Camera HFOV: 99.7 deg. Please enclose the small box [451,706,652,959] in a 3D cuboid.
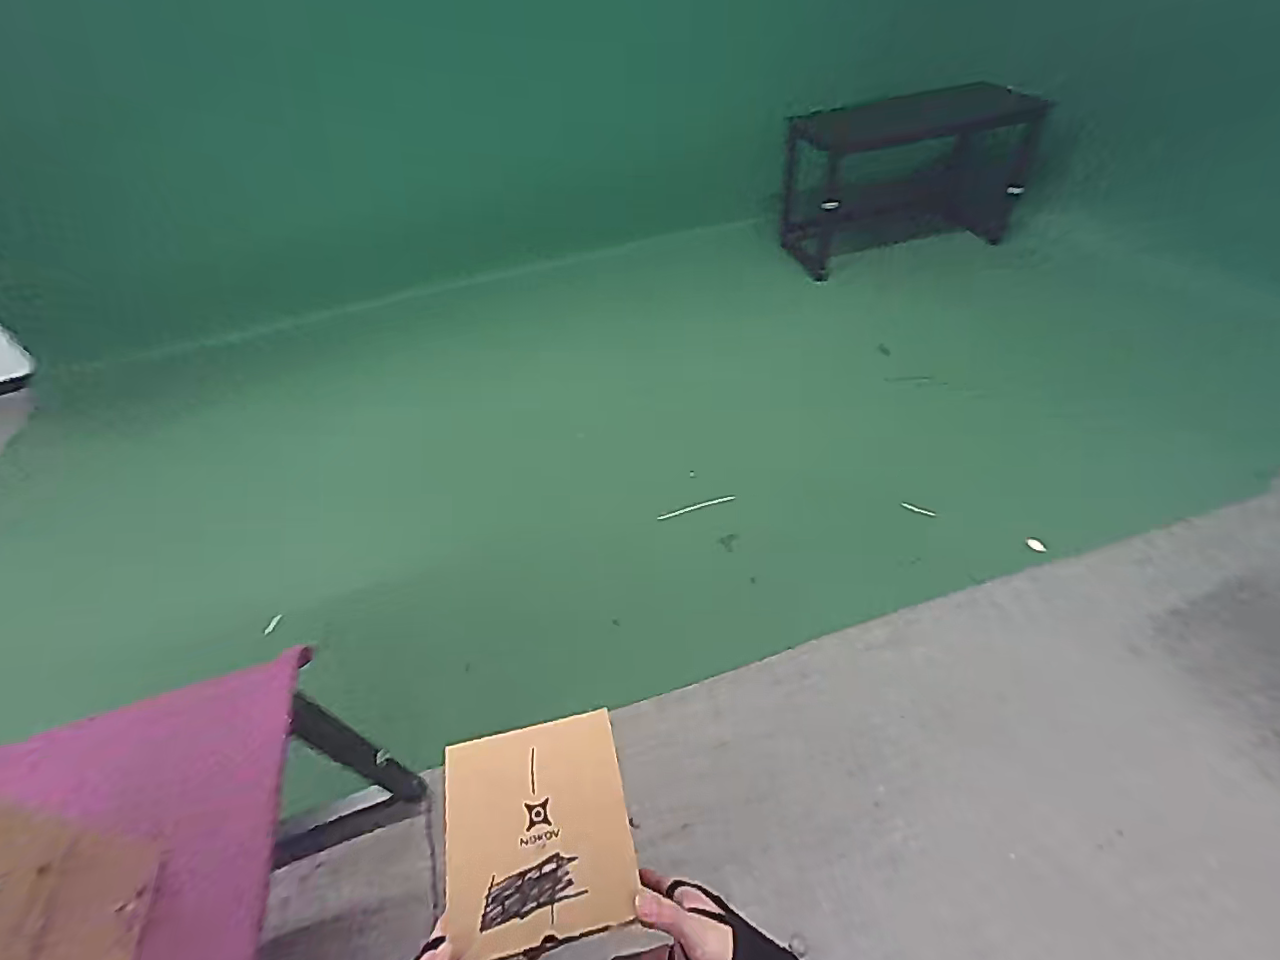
[{"bbox_3d":[-0.084,0.356,0.545,0.168,0.176,0.179,-10,51,-8],"label":"small box"}]
